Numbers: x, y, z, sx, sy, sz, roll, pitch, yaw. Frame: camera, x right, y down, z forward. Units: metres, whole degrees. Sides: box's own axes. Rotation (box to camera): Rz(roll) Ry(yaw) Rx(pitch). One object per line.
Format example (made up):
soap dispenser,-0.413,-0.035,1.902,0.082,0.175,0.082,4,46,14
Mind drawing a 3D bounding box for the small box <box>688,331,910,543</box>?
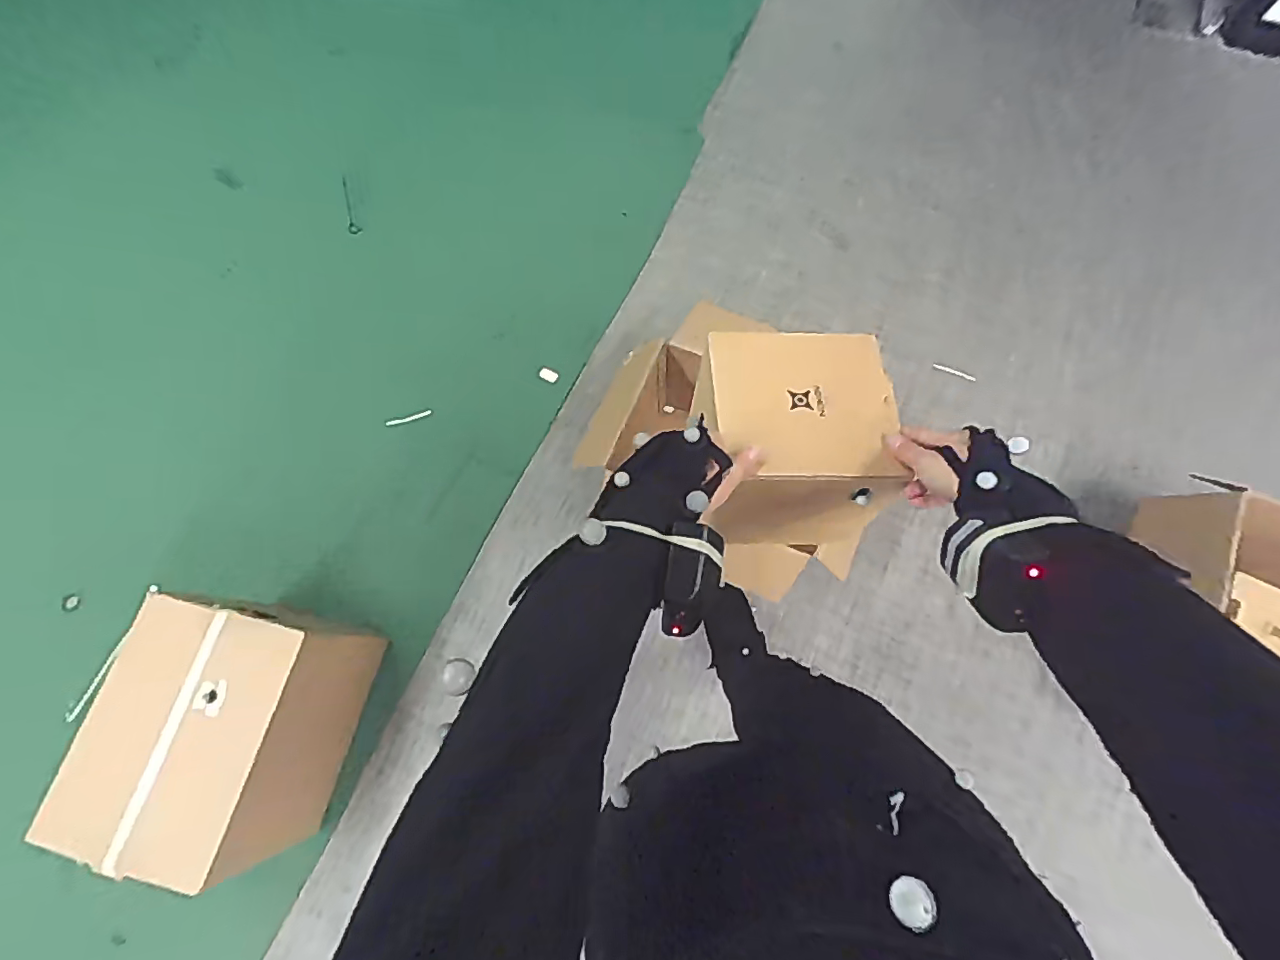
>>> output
small box,0.147,-0.037,0.577,0.179,0.176,0.168,1,62,-4
